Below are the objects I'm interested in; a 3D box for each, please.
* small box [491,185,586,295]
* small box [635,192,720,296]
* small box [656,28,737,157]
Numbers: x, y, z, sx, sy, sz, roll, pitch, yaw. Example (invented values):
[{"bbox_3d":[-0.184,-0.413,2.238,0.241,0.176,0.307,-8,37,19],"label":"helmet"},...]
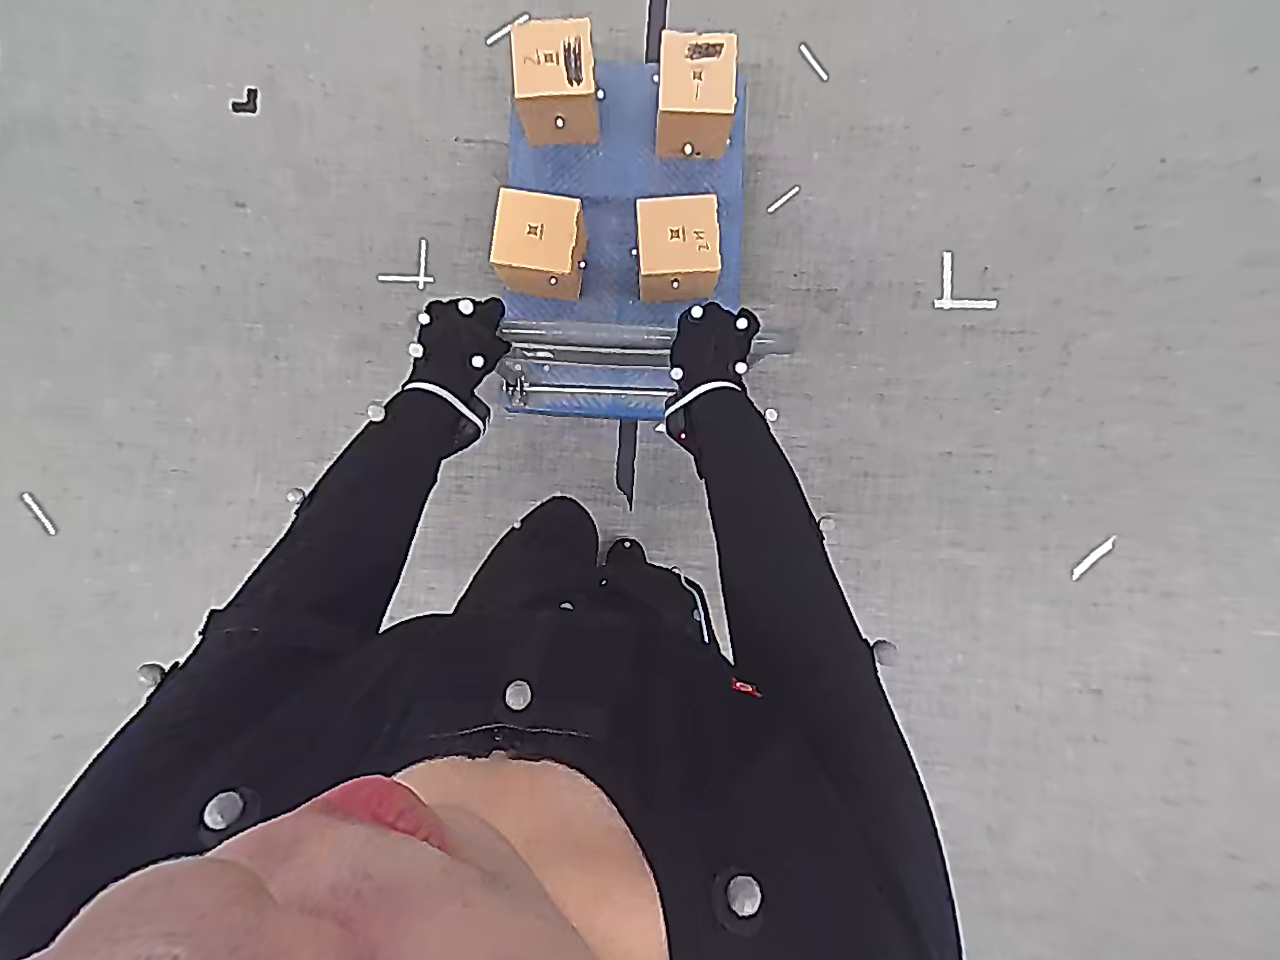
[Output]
[{"bbox_3d":[-0.225,-0.540,1.239,0.179,0.176,0.168,8,89,-2],"label":"small box"},{"bbox_3d":[0.082,-0.531,1.240,0.179,0.176,0.168,-3,89,0],"label":"small box"},{"bbox_3d":[0.124,-0.884,1.245,0.168,0.176,0.179,3,90,0],"label":"small box"}]
